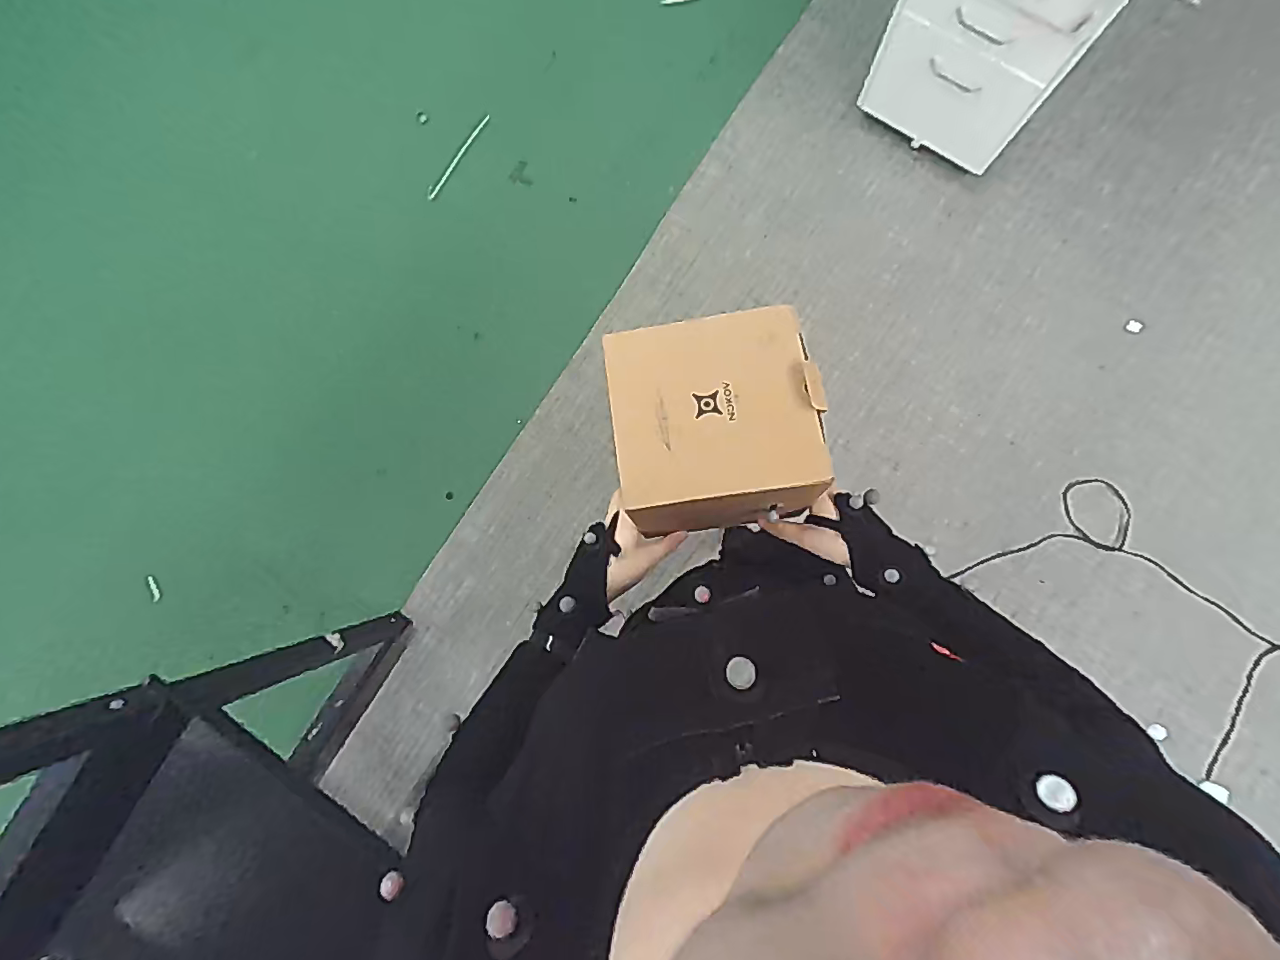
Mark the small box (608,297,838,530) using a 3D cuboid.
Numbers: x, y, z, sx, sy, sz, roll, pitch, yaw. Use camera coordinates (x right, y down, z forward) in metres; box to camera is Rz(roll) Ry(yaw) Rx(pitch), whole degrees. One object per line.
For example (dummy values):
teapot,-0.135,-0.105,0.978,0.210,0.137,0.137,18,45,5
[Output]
small box,0.073,-0.051,0.535,0.179,0.176,0.168,-9,75,5
